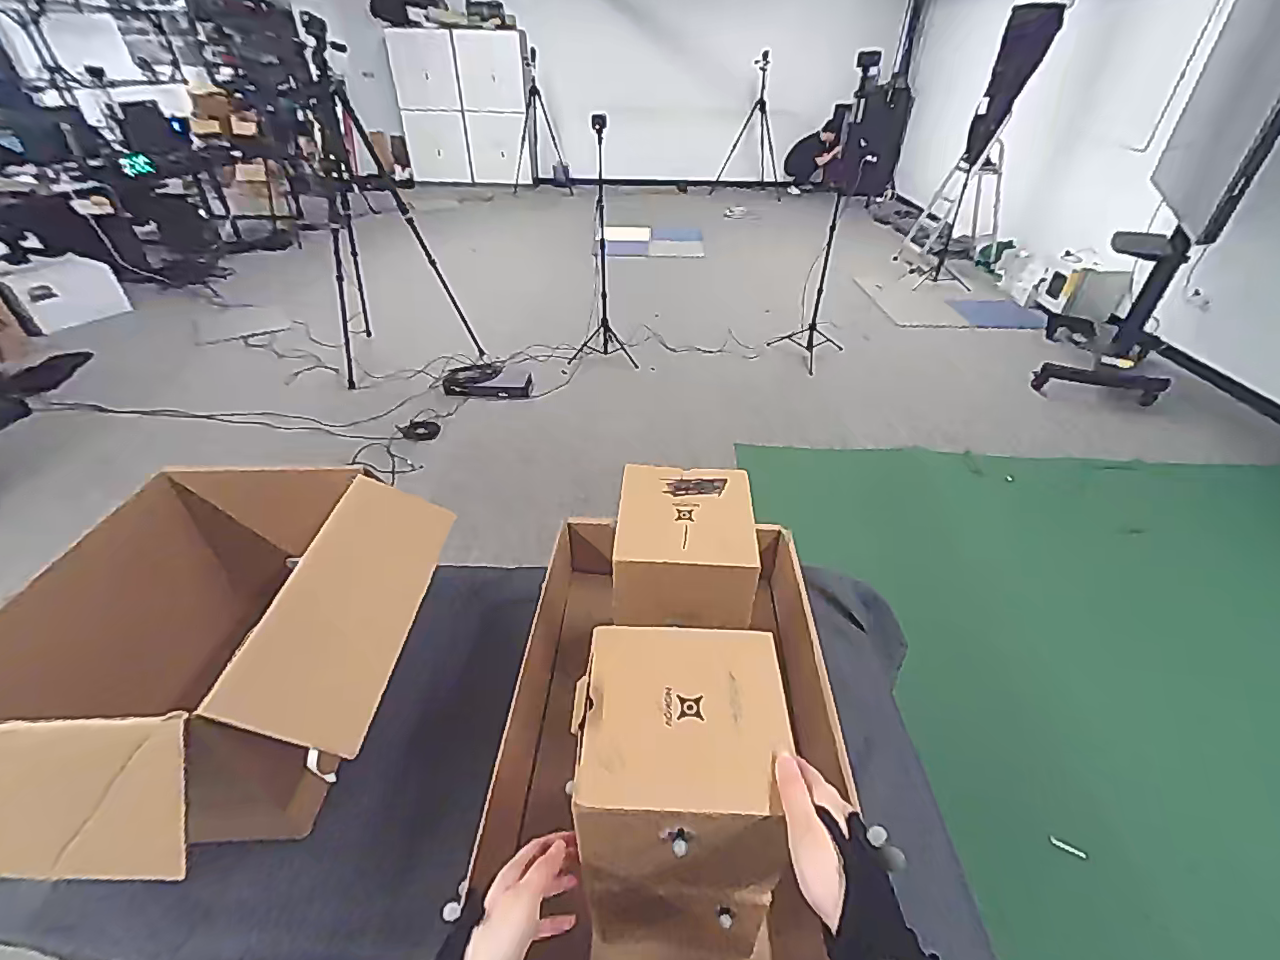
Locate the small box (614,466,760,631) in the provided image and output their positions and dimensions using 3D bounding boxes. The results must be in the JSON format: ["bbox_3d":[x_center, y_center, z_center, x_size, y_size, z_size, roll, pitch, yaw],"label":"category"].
[{"bbox_3d":[0.057,0.102,0.711,0.168,0.176,0.179,2,40,3],"label":"small box"}]

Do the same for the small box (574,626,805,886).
[{"bbox_3d":[0.039,0.259,0.512,0.179,0.176,0.168,2,38,1],"label":"small box"}]
